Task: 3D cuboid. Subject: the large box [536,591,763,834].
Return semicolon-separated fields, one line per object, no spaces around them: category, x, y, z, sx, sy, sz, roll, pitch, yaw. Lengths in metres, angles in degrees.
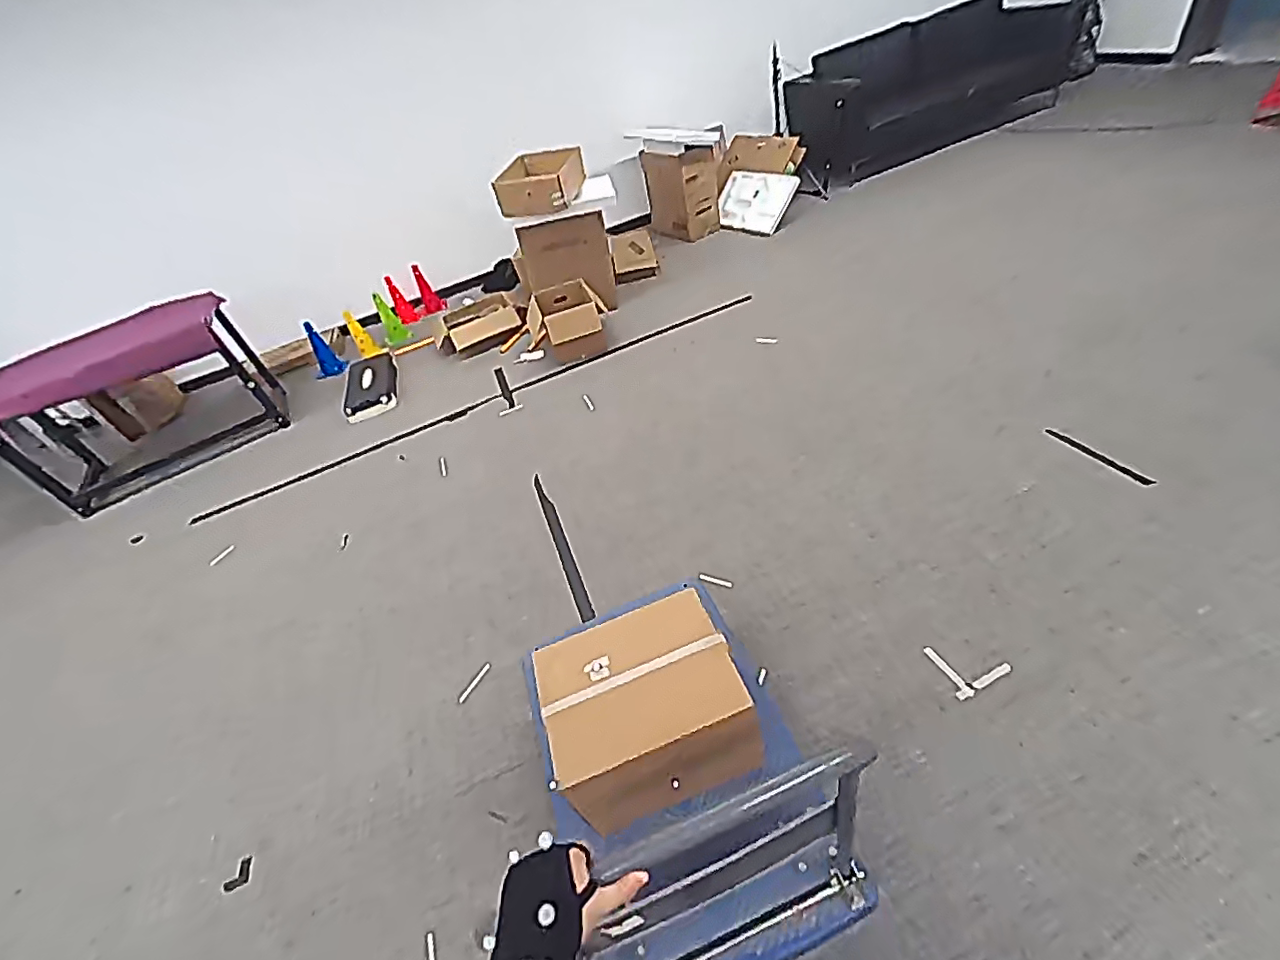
large box;0.024;0.532;1.245;0.408;0.320;0.320;-22;40;-5
